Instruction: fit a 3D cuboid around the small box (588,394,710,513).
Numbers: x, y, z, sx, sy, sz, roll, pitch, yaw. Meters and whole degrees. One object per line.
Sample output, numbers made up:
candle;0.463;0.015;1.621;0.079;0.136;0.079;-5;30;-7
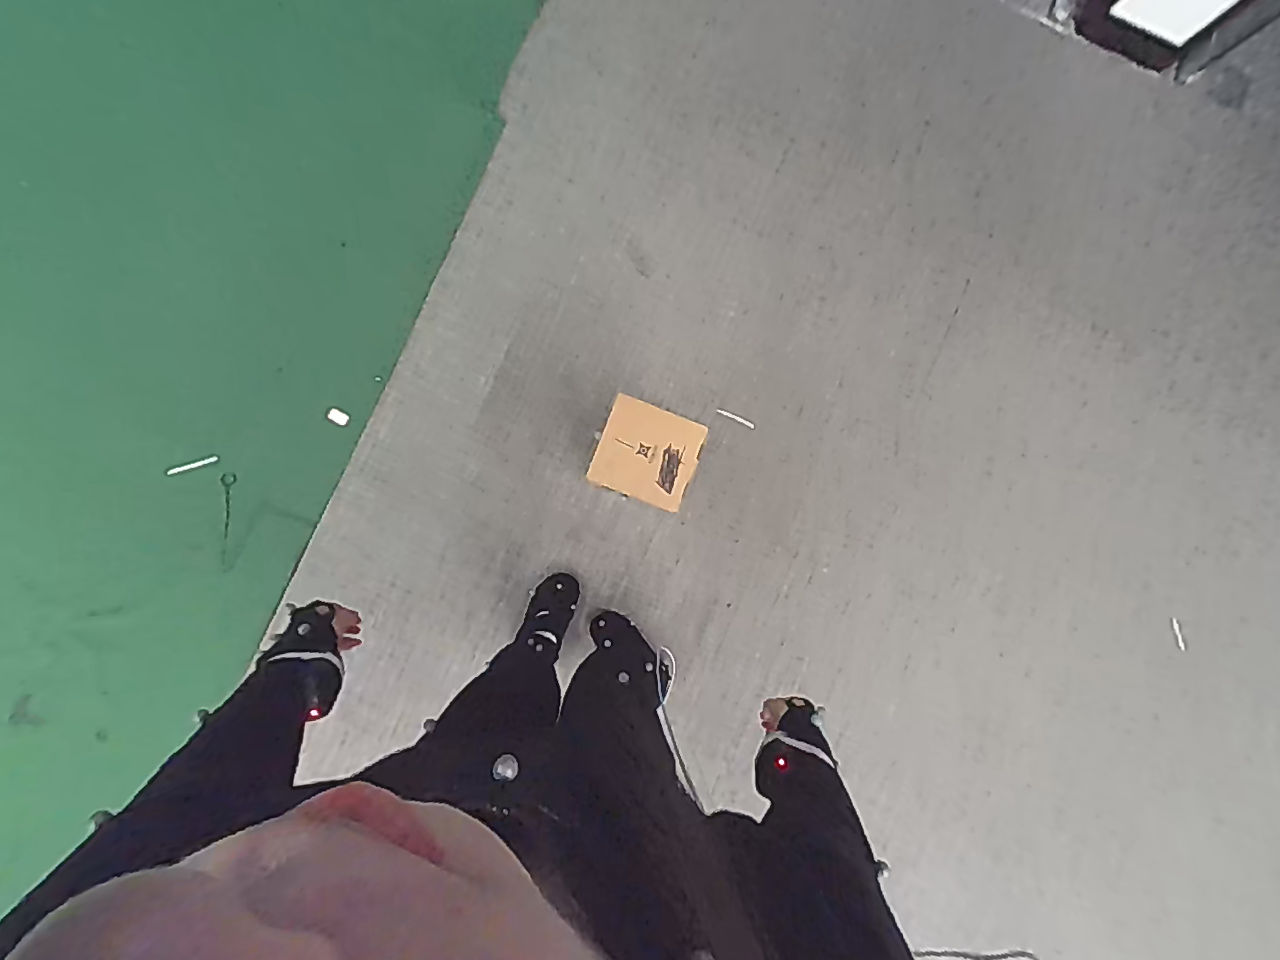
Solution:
small box;0.013;-0.047;1.039;0.179;0.176;0.168;22;88;-2
